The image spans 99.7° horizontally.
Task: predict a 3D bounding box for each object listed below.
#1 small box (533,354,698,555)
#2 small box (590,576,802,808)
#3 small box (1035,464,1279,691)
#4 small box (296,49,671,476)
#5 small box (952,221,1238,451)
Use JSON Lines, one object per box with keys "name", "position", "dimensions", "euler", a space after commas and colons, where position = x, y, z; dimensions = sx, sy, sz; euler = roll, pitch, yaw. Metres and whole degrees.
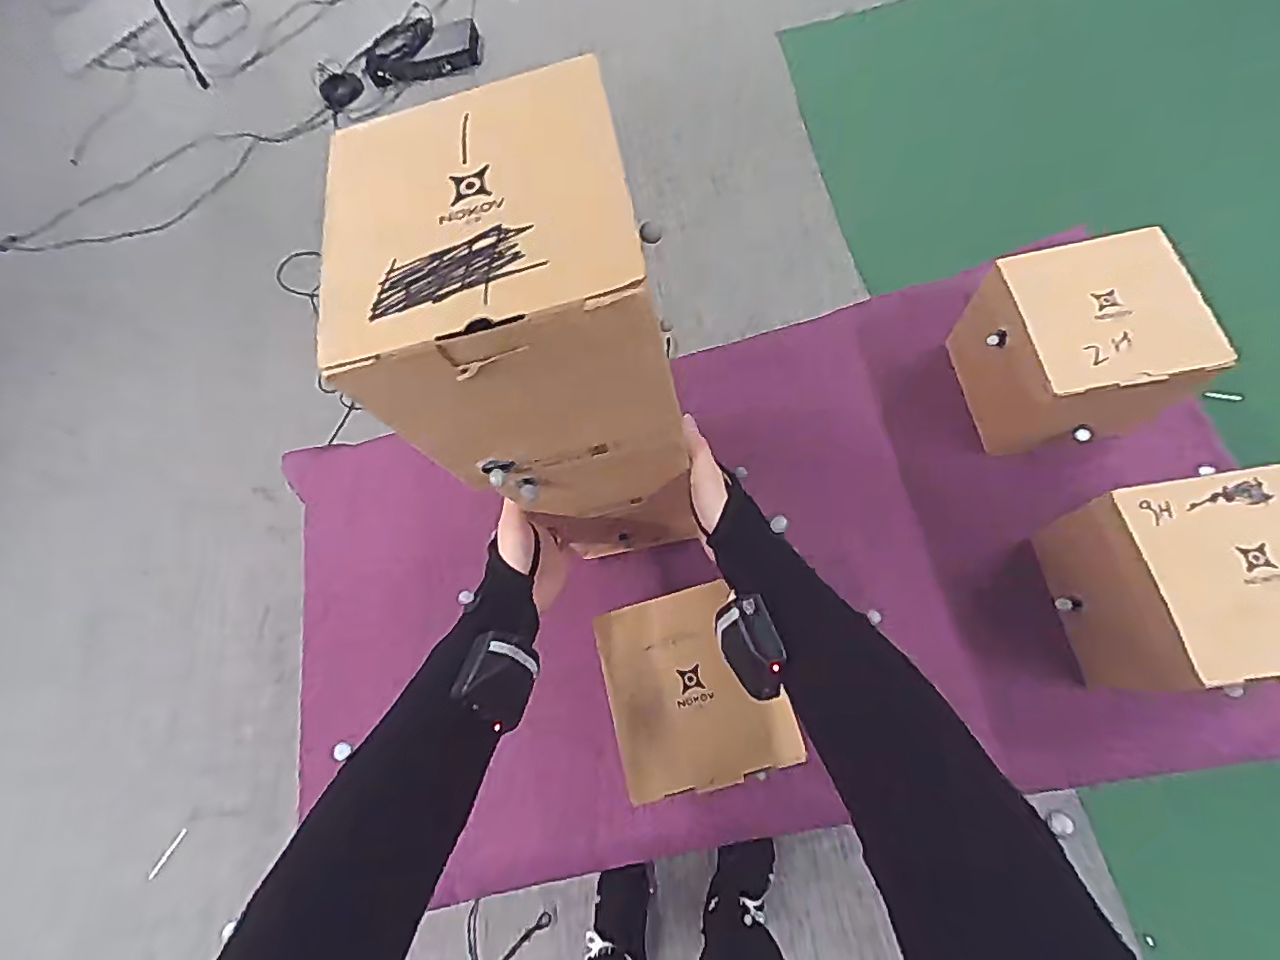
{"name": "small box", "position": [-0.028, -0.021, 0.661], "dimensions": [0.168, 0.176, 0.179], "euler": [-12, 69, 6]}
{"name": "small box", "position": [0.062, 0.219, 0.580], "dimensions": [0.168, 0.176, 0.179], "euler": [-17, 67, 4]}
{"name": "small box", "position": [0.534, 0.101, 0.525], "dimensions": [0.168, 0.176, 0.179], "euler": [-10, 68, 8]}
{"name": "small box", "position": [-0.082, -0.114, 0.349], "dimensions": [0.168, 0.176, 0.179], "euler": [-13, 67, 6]}
{"name": "small box", "position": [0.491, -0.154, 0.623], "dimensions": [0.168, 0.176, 0.179], "euler": [-10, 69, 9]}
